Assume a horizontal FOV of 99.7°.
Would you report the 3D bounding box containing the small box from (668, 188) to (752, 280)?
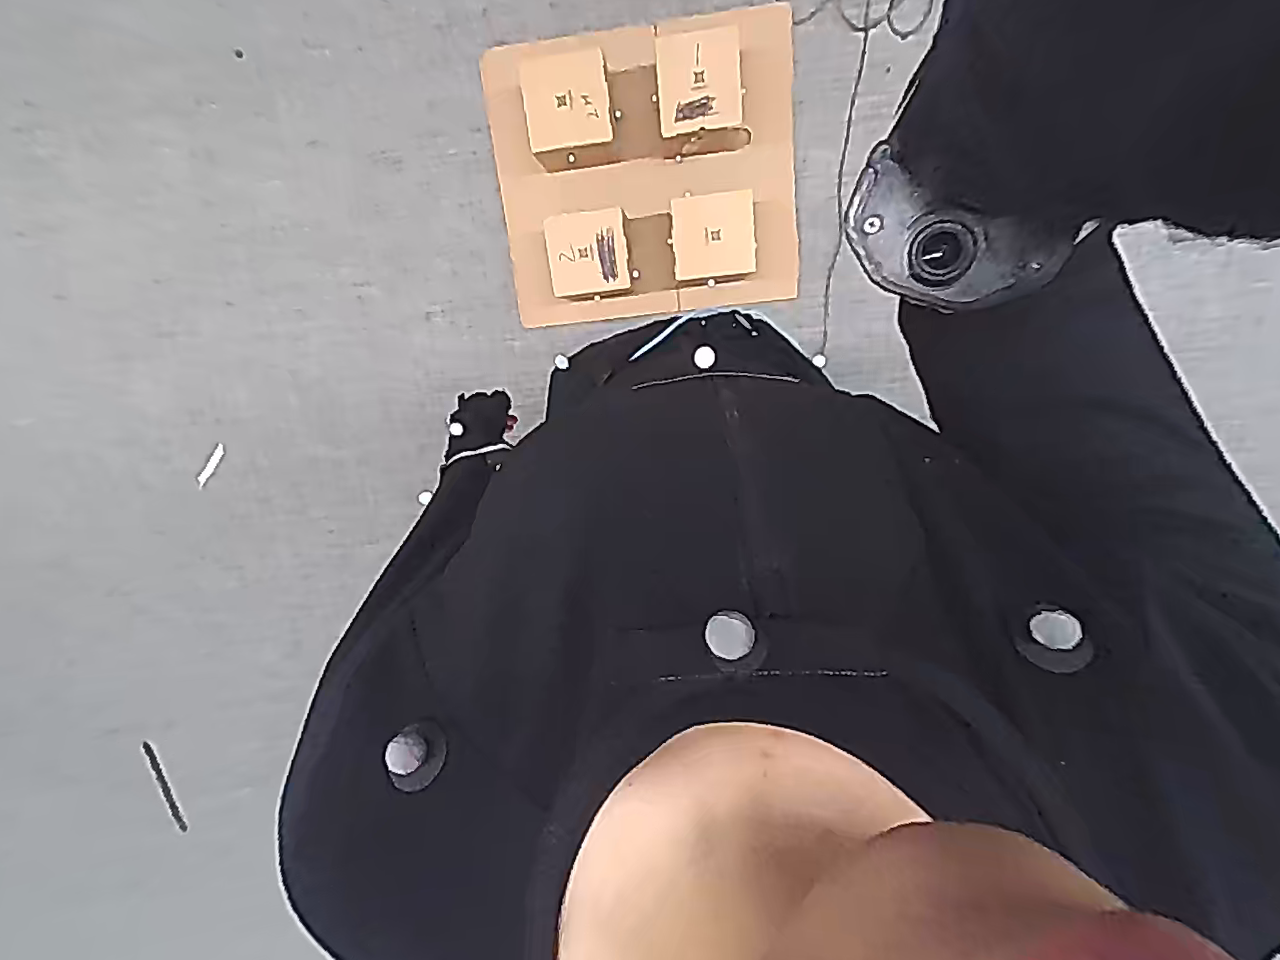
[{"bbox_3d":[0.156,-0.552,1.232,0.179,0.176,0.168,-3,107,7],"label":"small box"}]
